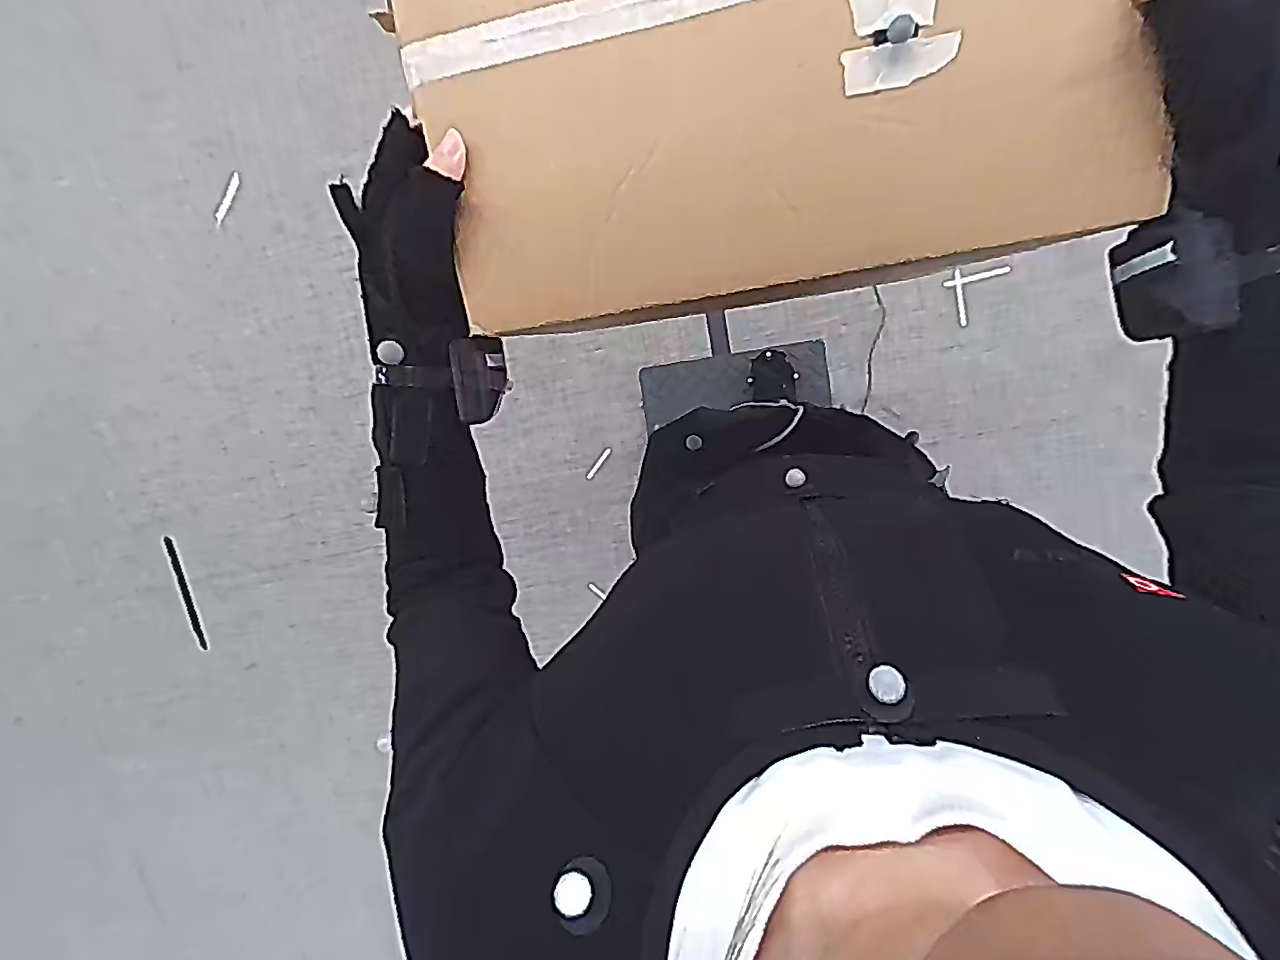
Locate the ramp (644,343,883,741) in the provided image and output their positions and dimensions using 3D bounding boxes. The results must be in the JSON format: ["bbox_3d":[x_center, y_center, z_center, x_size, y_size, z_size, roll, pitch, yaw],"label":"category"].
[{"bbox_3d":[0.307,0.166,1.423,0.509,0.206,0.991,-9,96,10],"label":"ramp"}]

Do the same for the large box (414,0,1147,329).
[{"bbox_3d":[0.079,-0.318,0.445,0.408,0.320,0.320,-8,105,8],"label":"large box"}]
